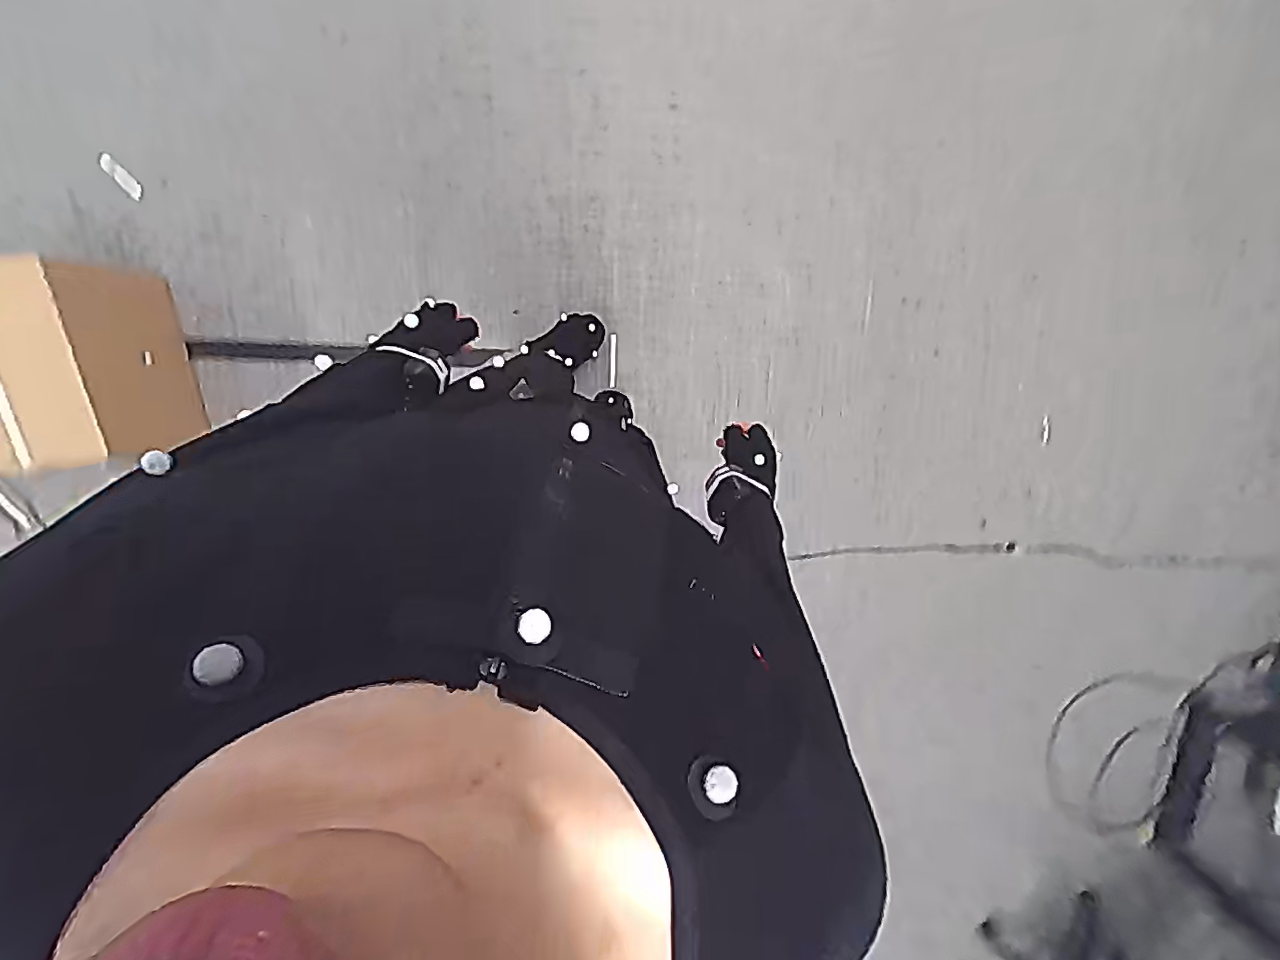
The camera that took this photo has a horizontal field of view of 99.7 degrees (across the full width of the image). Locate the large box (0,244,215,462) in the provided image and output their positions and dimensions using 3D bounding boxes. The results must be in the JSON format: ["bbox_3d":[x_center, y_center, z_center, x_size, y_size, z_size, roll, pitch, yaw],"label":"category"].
[{"bbox_3d":[-1.267,-0.277,1.216,0.320,0.320,0.408,-7,104,-2],"label":"large box"}]
